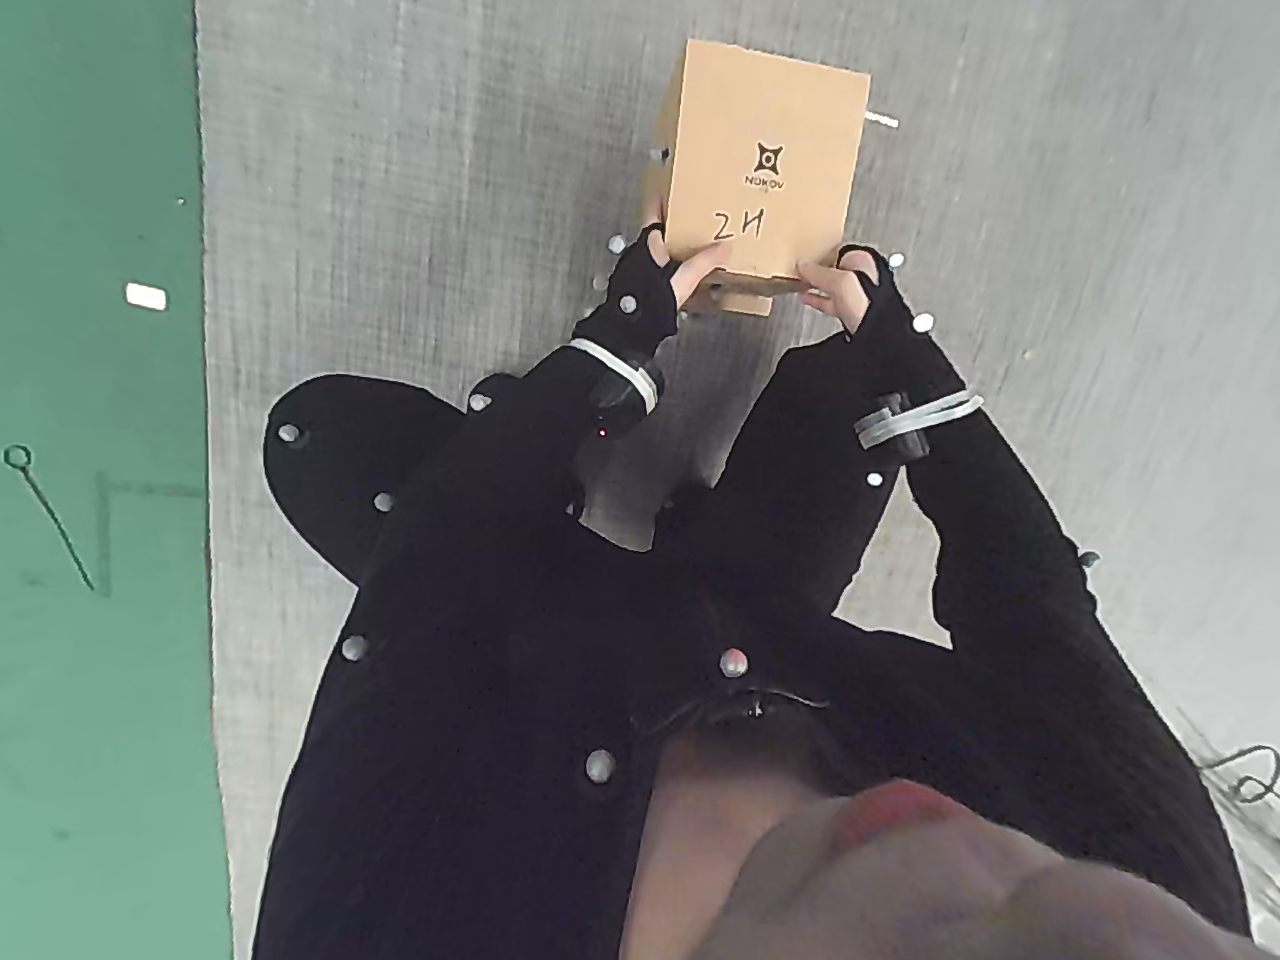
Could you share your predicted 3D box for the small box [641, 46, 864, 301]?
[{"bbox_3d":[0.097,-0.291,0.557,0.168,0.176,0.179,5,104,-8],"label":"small box"}]
